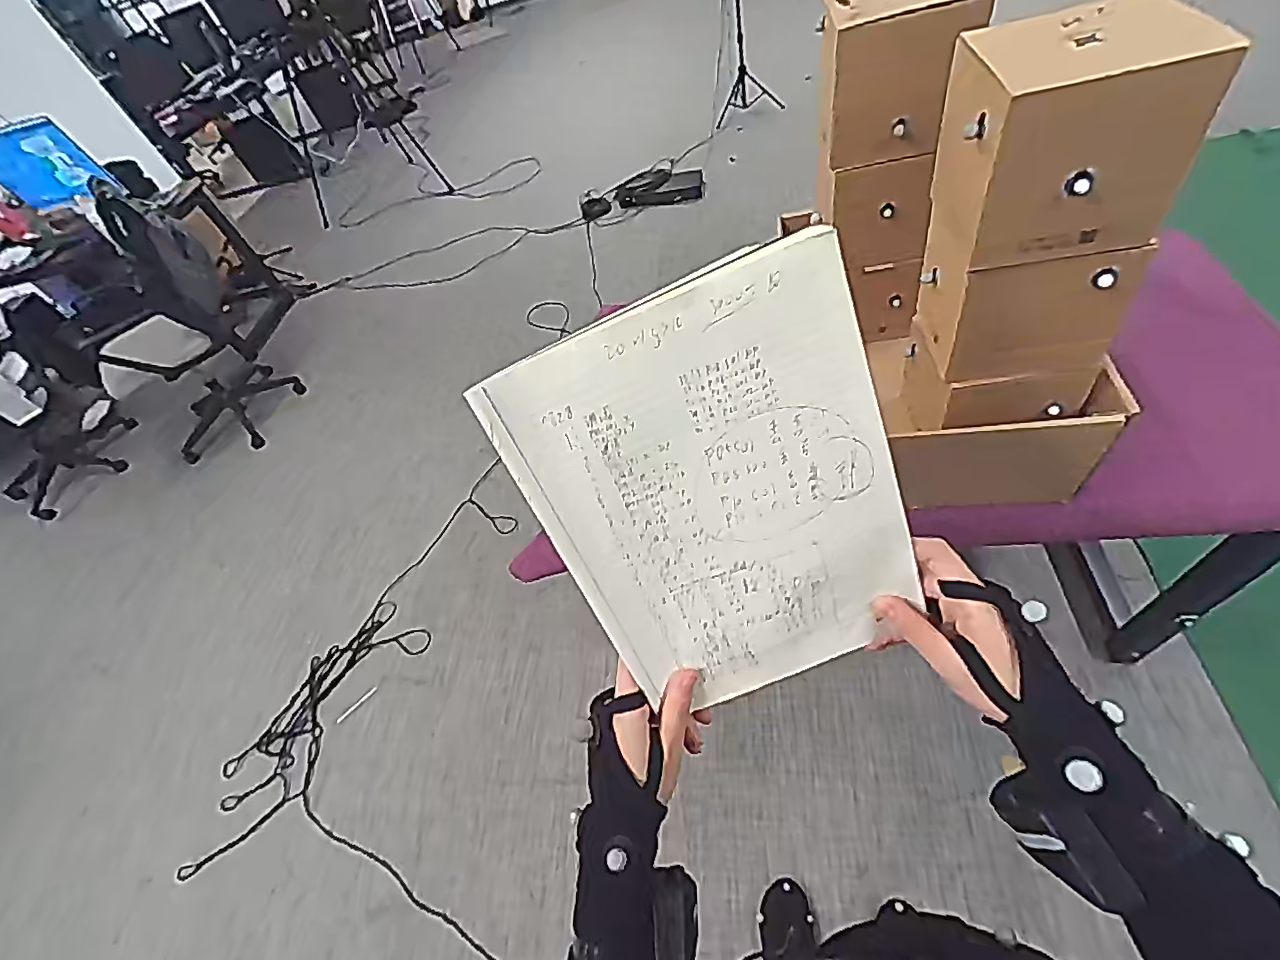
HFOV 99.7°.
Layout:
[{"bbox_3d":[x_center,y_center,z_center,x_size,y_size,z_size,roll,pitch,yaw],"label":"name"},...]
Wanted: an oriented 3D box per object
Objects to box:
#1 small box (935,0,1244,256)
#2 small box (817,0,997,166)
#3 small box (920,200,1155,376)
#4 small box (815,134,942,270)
[{"bbox_3d":[0.418,-0.346,0.547,0.168,0.176,0.179,-3,51,14],"label":"small box"},{"bbox_3d":[0.347,-0.564,0.742,0.179,0.176,0.168,-3,53,12],"label":"small box"},{"bbox_3d":[0.462,-0.245,0.671,0.179,0.176,0.168,-3,51,14],"label":"small box"},{"bbox_3d":[0.385,-0.466,0.868,0.179,0.176,0.168,-6,53,12],"label":"small box"}]
